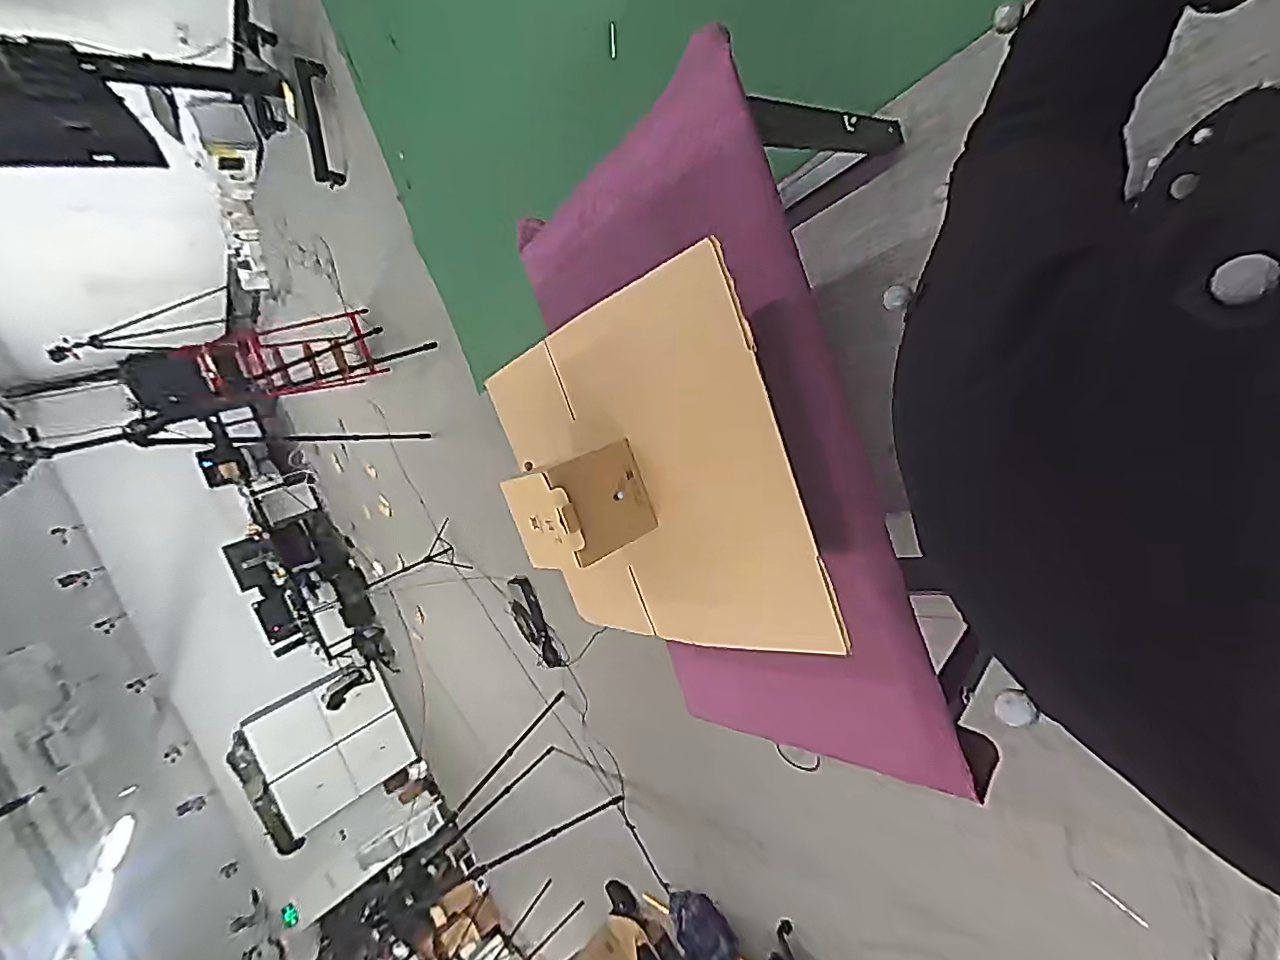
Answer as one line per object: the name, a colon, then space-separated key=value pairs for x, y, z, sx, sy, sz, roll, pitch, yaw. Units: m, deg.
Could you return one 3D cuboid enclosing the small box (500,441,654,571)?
small box: x=-0.107 y=0.044 z=0.933 sx=0.179 sy=0.176 sz=0.168 roll=-10 pitch=103 yaw=51
